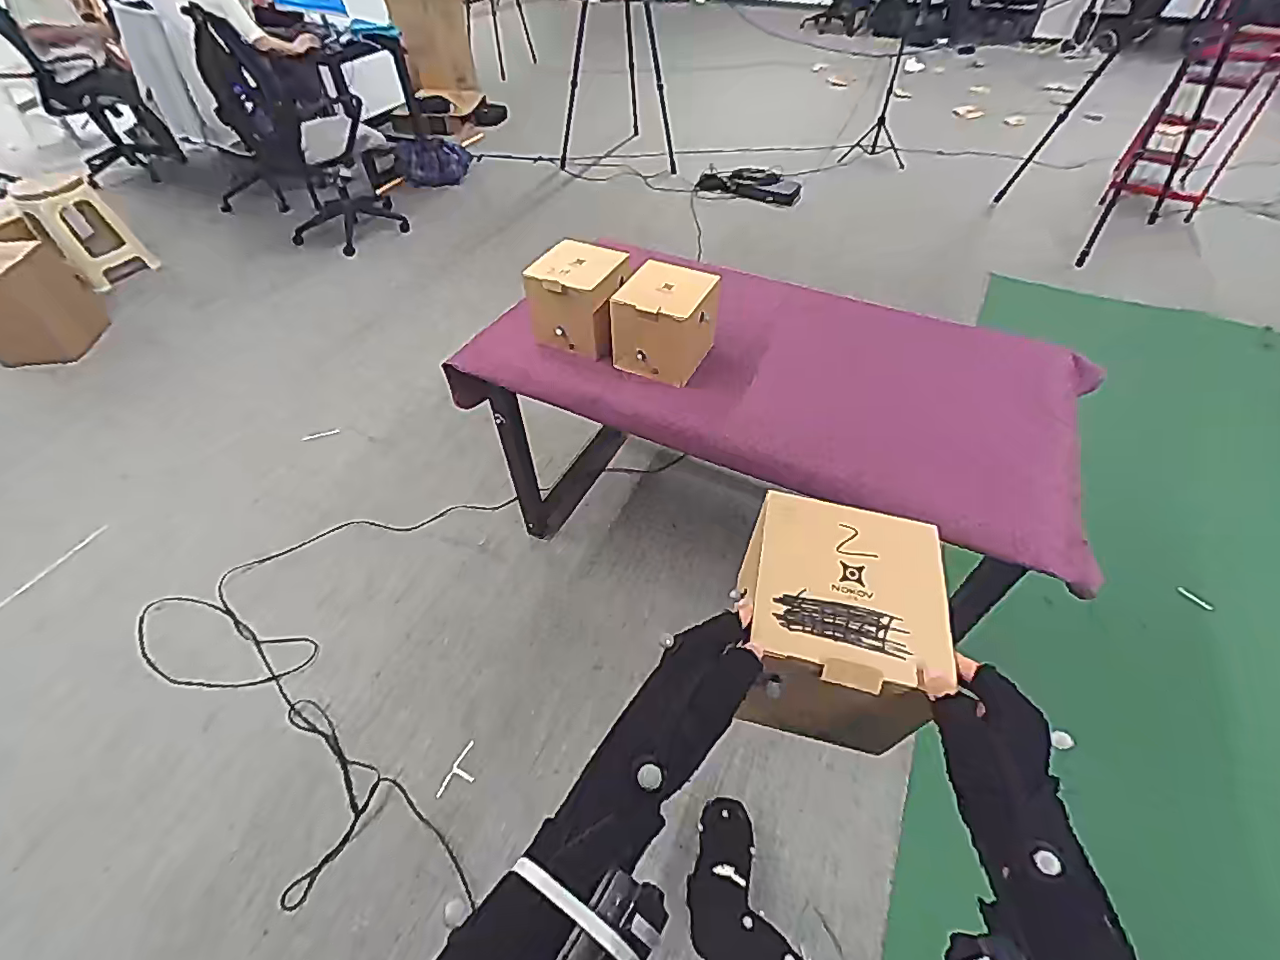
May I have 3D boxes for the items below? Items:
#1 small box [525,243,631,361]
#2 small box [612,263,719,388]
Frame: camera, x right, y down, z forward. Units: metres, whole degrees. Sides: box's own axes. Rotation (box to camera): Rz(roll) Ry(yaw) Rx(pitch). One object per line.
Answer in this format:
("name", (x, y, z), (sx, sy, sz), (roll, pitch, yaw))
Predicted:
("small box", (-0.131, -0.397, 1.207), (0.168, 0.176, 0.179), (20, 52, 18))
("small box", (0.053, -0.326, 1.145), (0.168, 0.176, 0.179), (21, 53, 18))
